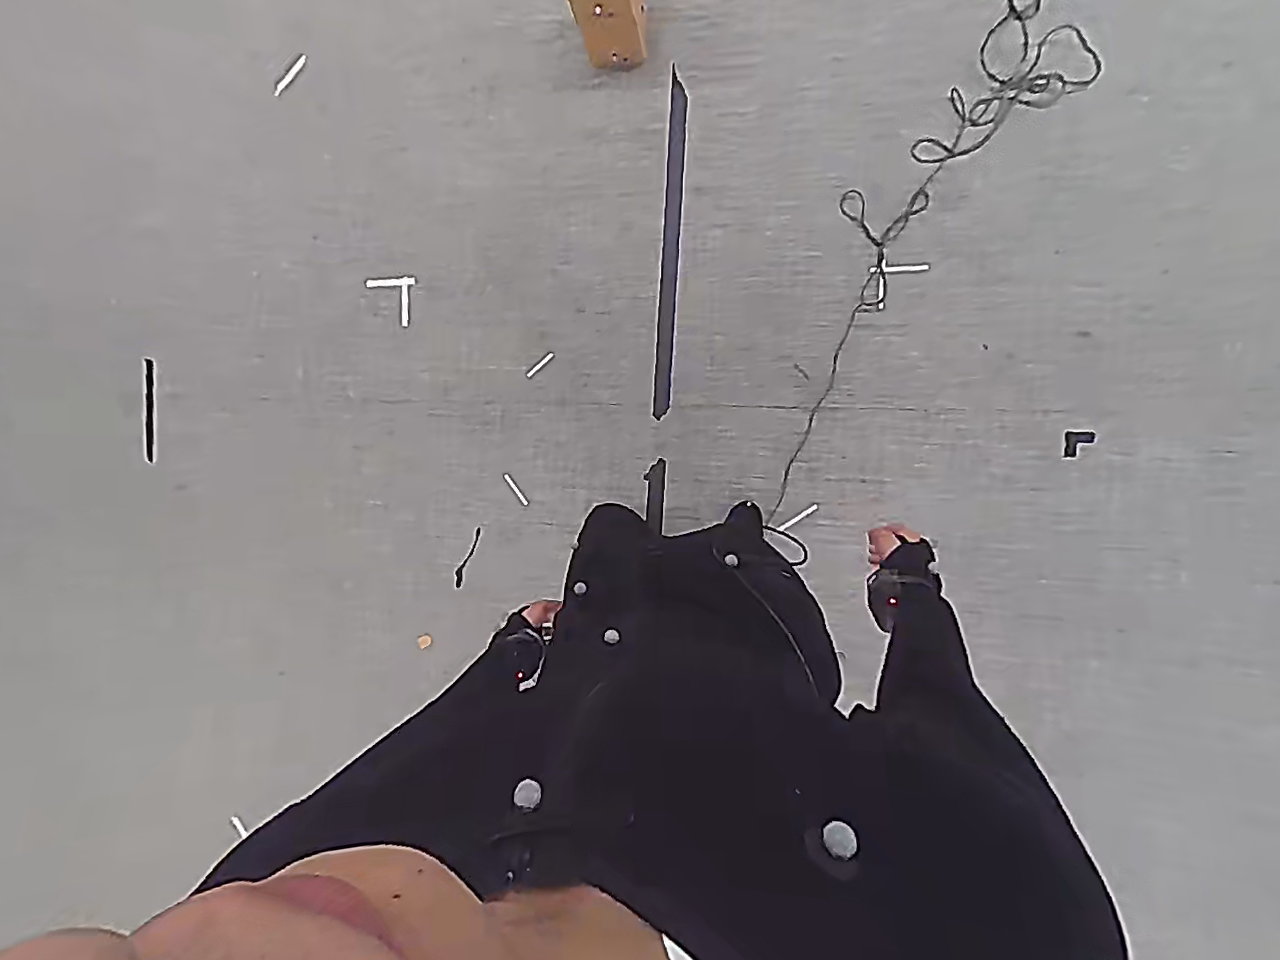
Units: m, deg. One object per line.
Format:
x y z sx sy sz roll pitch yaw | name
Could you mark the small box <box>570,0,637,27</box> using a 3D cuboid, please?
-0.099 -1.311 1.378 0.168 0.176 0.179 5 93 10 | small box
